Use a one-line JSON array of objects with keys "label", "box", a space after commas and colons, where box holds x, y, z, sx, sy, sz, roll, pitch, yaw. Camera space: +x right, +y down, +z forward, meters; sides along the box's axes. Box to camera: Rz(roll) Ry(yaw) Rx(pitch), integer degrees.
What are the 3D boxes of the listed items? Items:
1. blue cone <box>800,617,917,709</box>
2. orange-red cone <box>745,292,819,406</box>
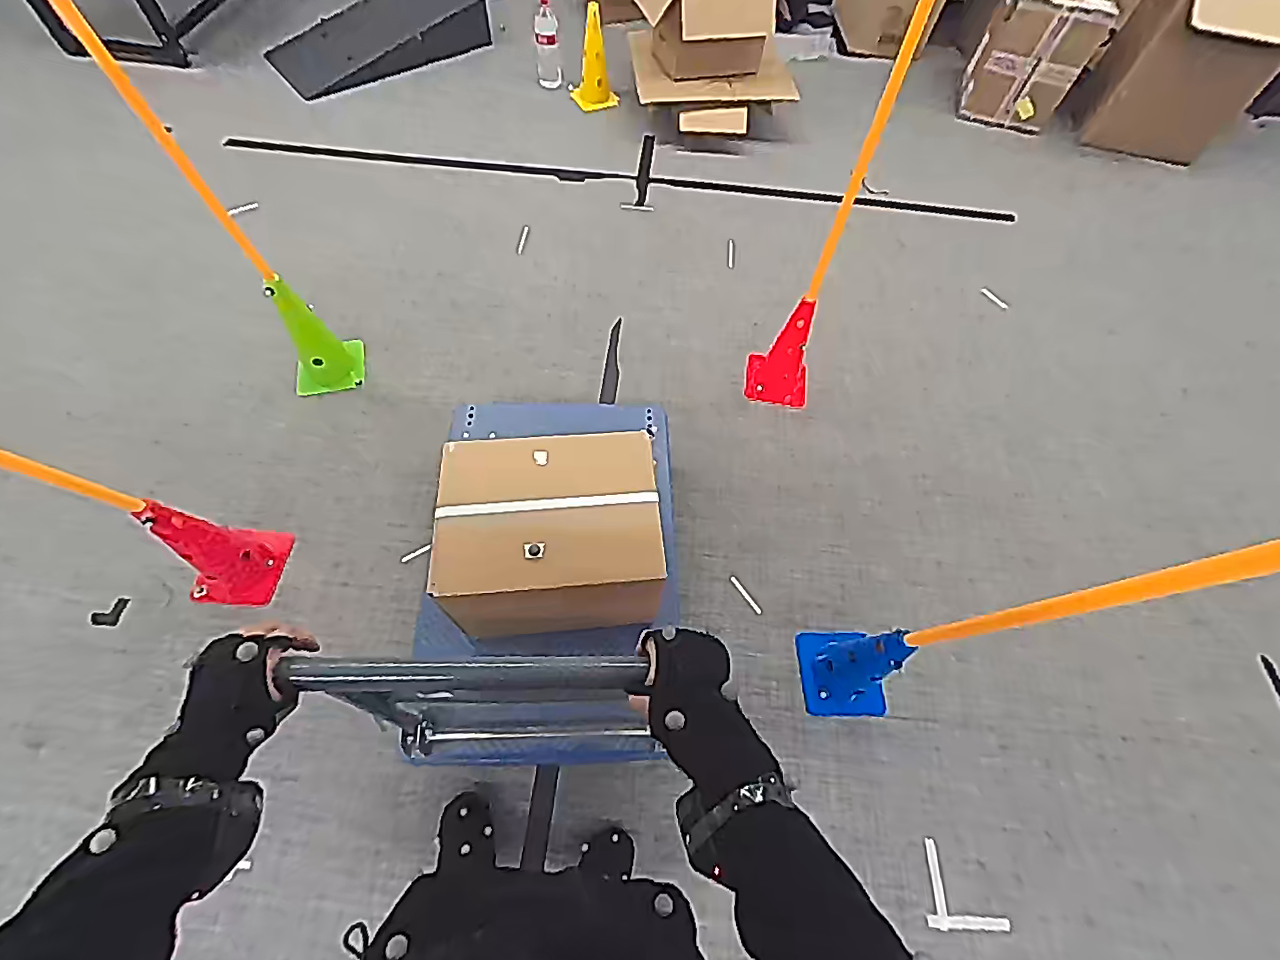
[{"label": "blue cone", "box": [0.513, 0.386, 1.205, 0.193, 0.380, 0.192, 2, 60, -3]}, {"label": "orange-red cone", "box": [0.464, -0.418, 1.631, 0.199, 0.360, 0.198, 12, 62, 2]}]
